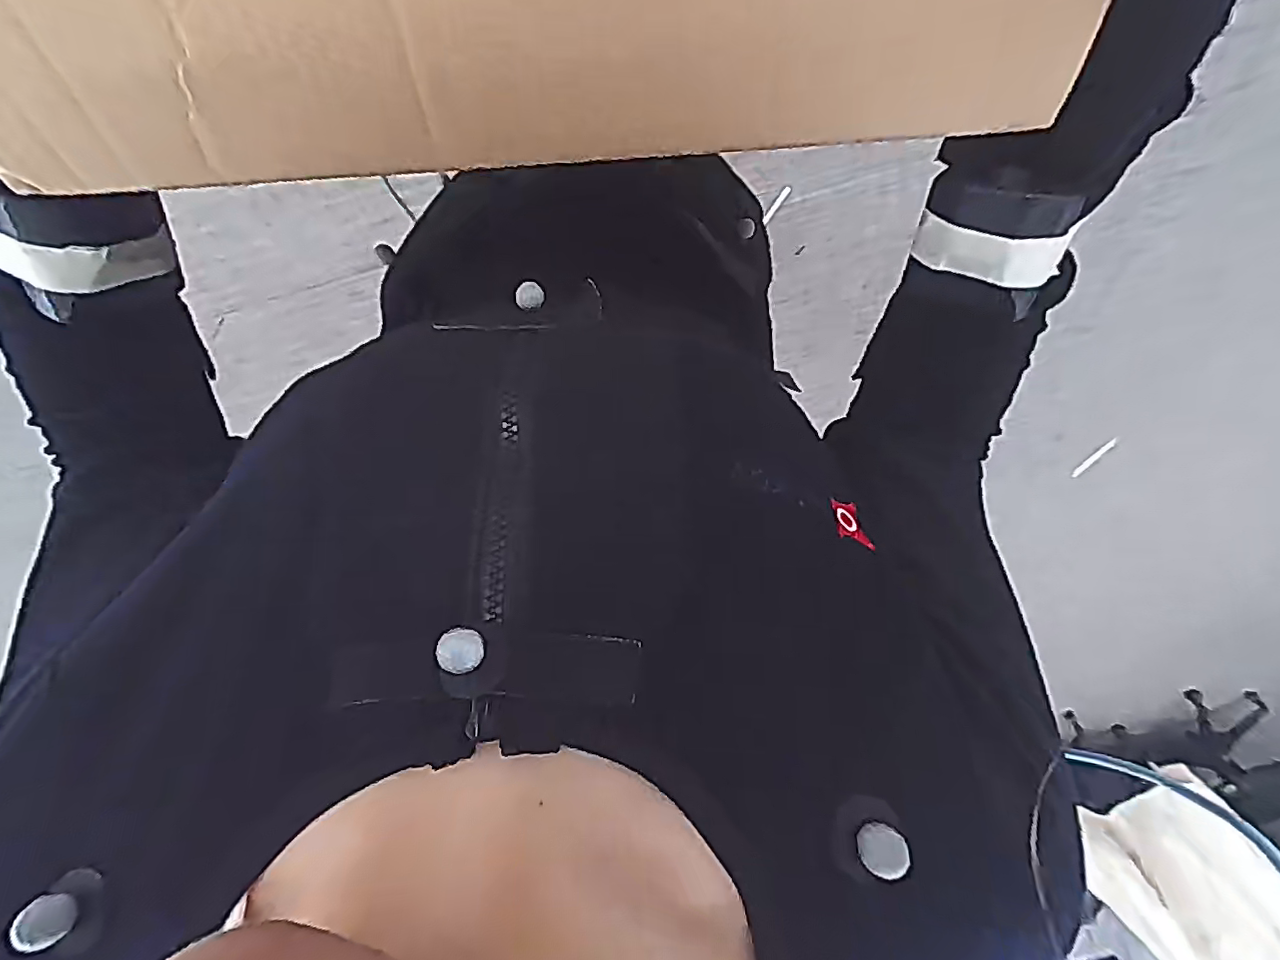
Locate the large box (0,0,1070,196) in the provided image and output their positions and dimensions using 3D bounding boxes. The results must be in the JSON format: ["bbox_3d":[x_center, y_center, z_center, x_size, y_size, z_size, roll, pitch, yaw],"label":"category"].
[{"bbox_3d":[-0.056,-0.345,0.203,0.408,0.320,0.320,-4,138,0],"label":"large box"}]
